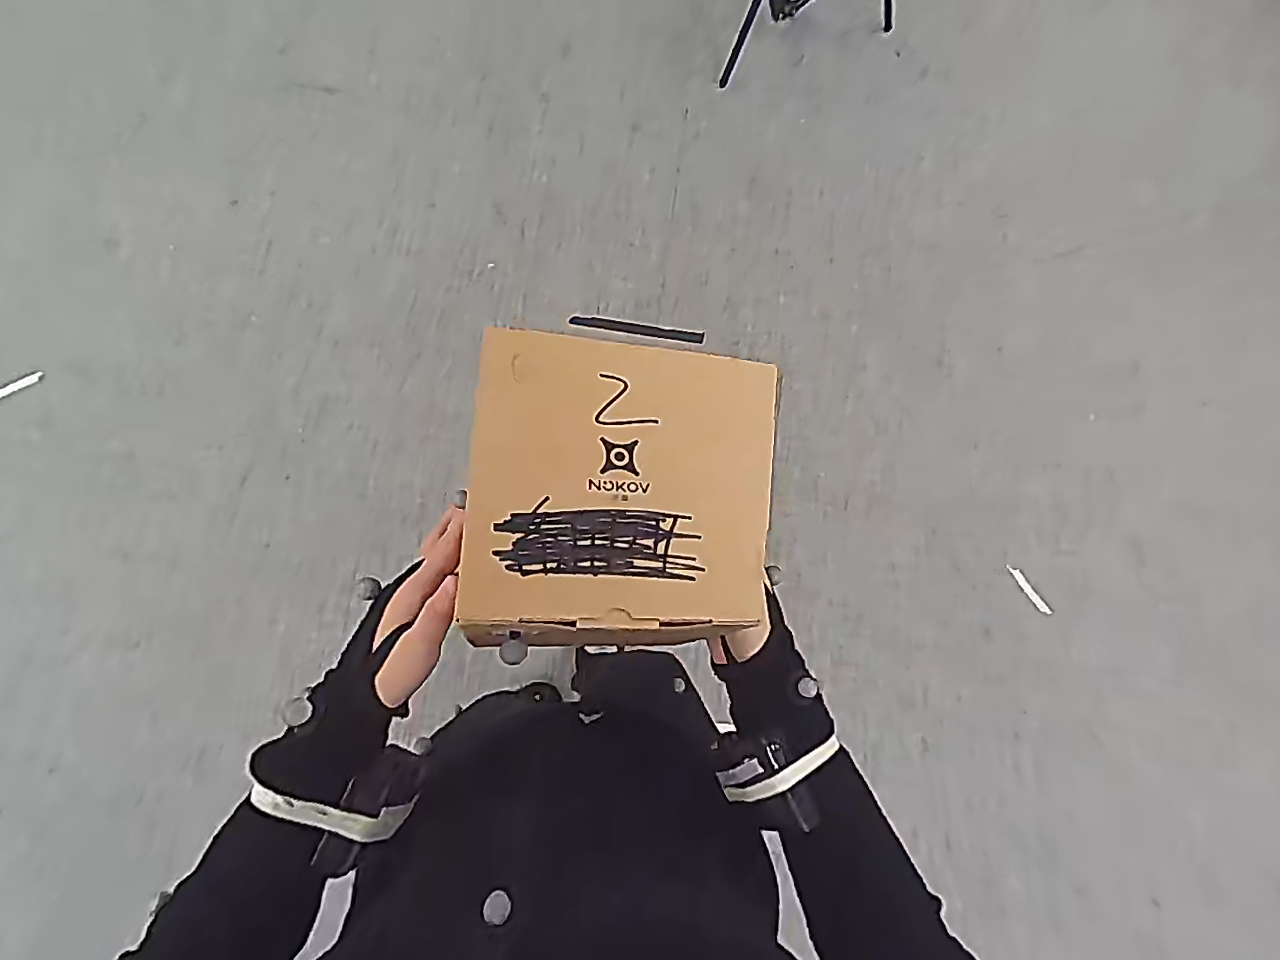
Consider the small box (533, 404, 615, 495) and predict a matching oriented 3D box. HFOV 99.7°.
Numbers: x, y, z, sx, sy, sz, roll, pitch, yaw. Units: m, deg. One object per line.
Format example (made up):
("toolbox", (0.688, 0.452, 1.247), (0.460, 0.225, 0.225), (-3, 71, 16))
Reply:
("small box", (-0.156, -0.065, 1.303), (0.168, 0.176, 0.179), (8, 80, -5))
